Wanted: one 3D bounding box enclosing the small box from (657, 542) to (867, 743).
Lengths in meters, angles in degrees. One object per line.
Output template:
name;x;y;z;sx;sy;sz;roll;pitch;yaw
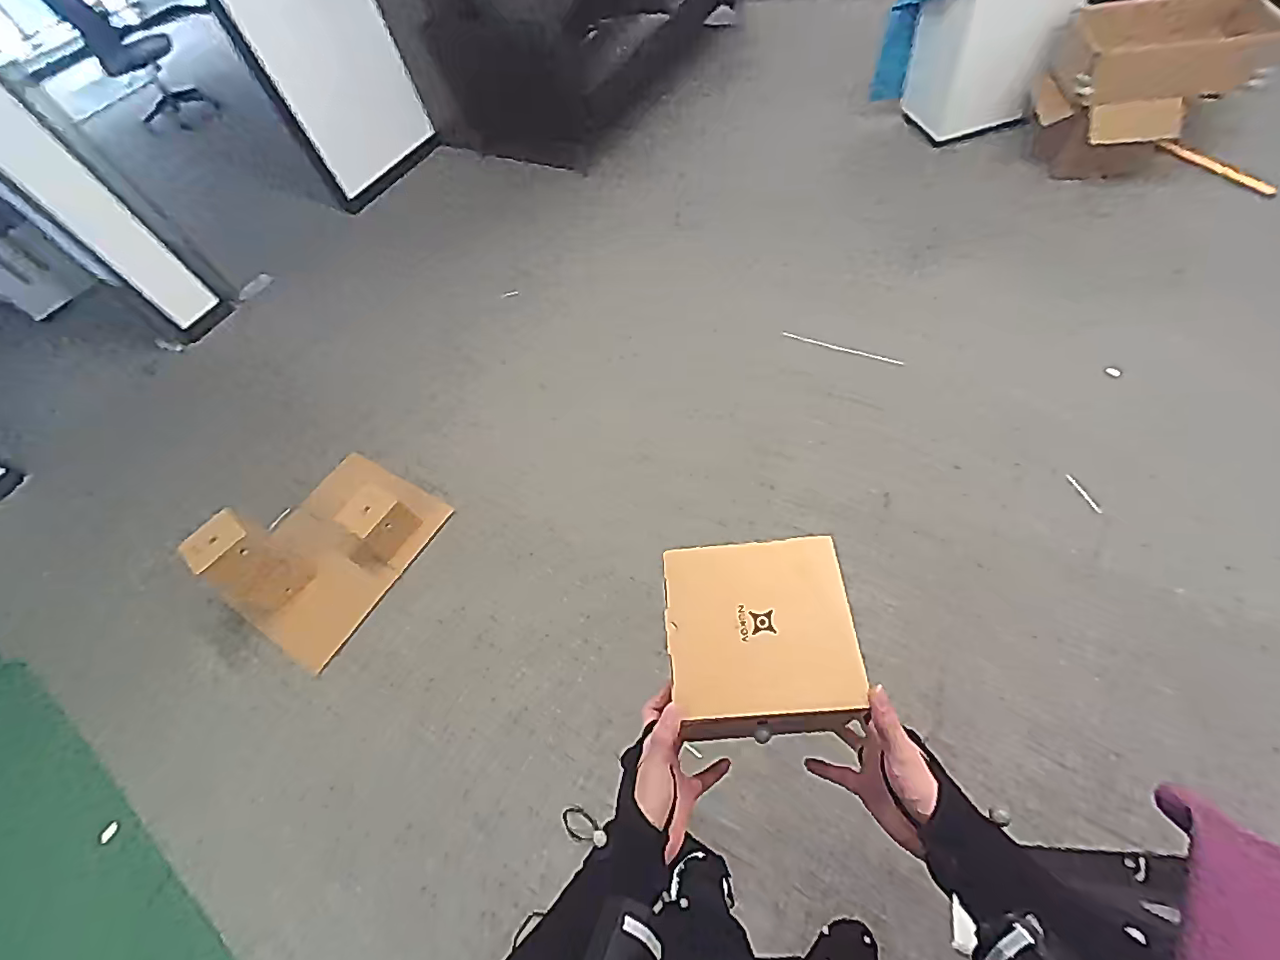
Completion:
small box;0.117;0.181;0.581;0.179;0.176;0.168;-7;58;5

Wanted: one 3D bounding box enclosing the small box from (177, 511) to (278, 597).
small box;-1.300;0.238;1.722;0.168;0.176;0.179;32;68;28

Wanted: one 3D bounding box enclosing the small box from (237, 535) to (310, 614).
small box;-1.280;0.327;1.861;0.168;0.176;0.179;33;68;28

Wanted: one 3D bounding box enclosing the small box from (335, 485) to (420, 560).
small box;-0.917;0.154;1.904;0.168;0.176;0.179;25;66;24
